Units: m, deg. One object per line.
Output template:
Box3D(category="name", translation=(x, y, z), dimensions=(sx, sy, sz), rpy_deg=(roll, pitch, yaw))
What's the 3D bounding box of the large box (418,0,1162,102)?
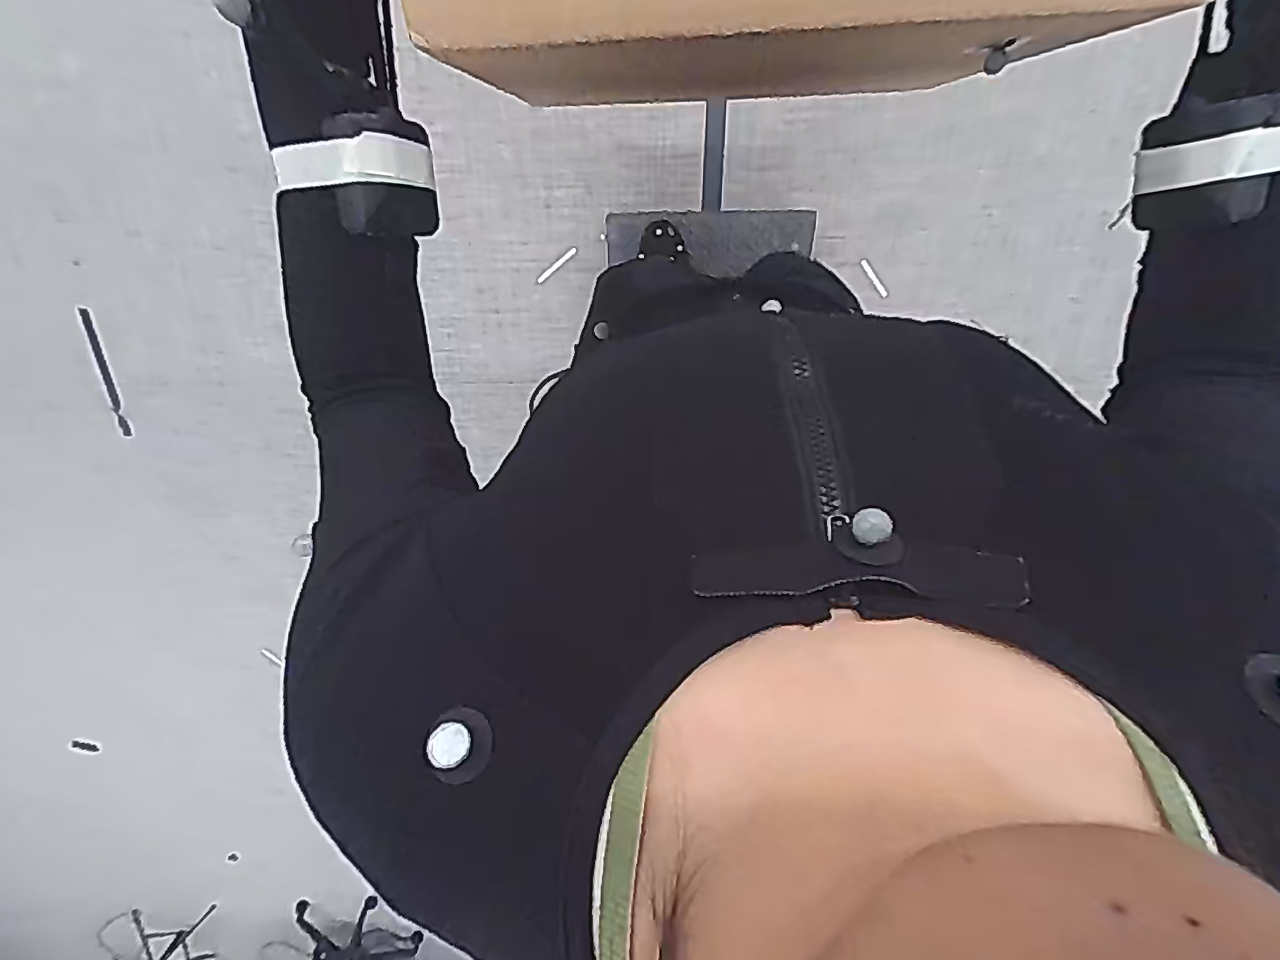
Box3D(category="large box", translation=(0.078, -0.447, 0.342), dimensions=(0.408, 0.320, 0.320), rpy_deg=(-1, 120, 3))
